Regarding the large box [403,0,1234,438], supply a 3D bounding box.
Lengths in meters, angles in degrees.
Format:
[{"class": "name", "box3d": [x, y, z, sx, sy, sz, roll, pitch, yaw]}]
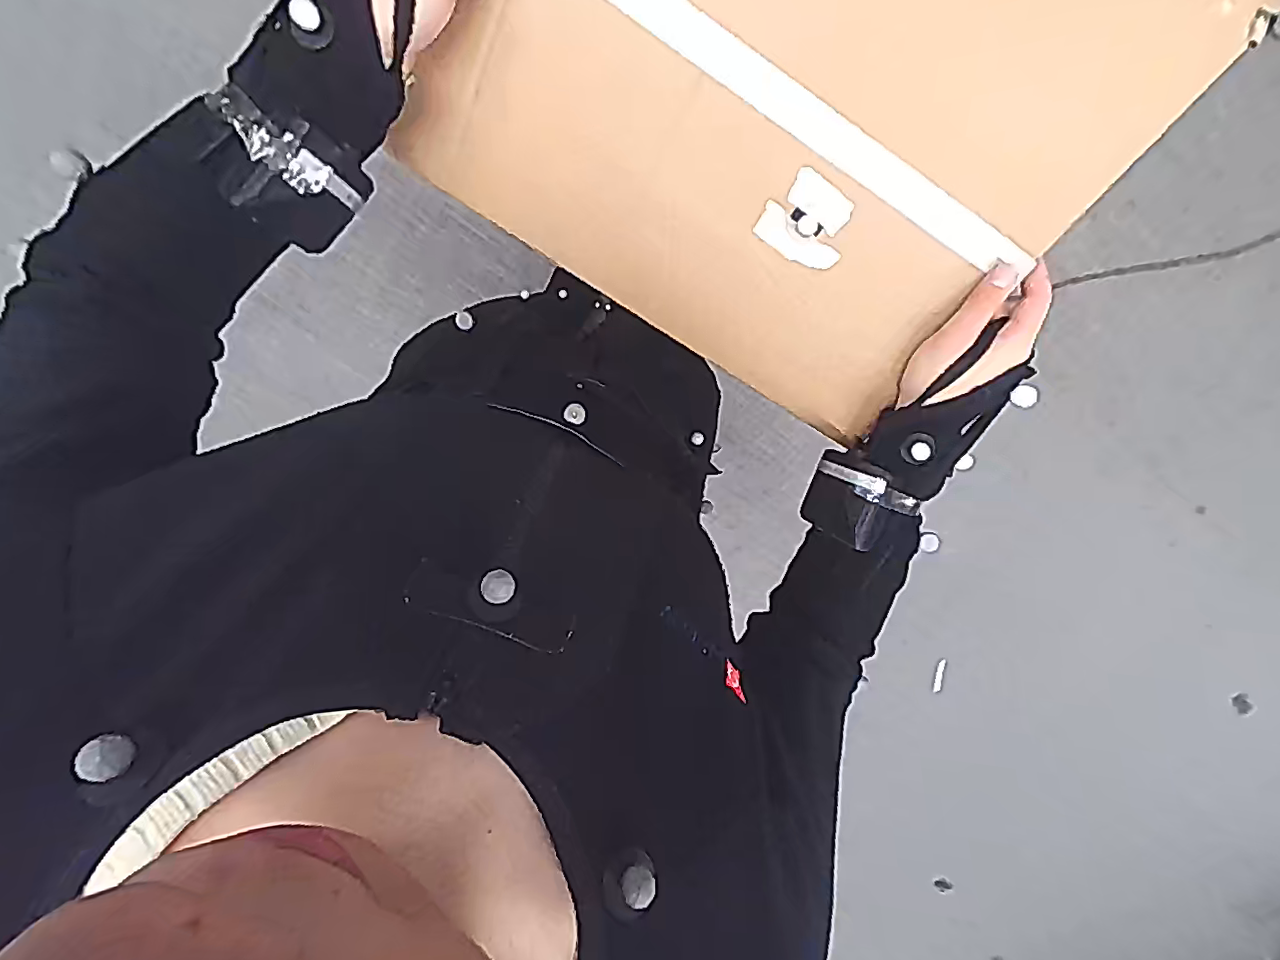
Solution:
[{"class": "large box", "box3d": [0.092, -0.310, 0.459, 0.408, 0.320, 0.320, 29, 122, -10]}]
